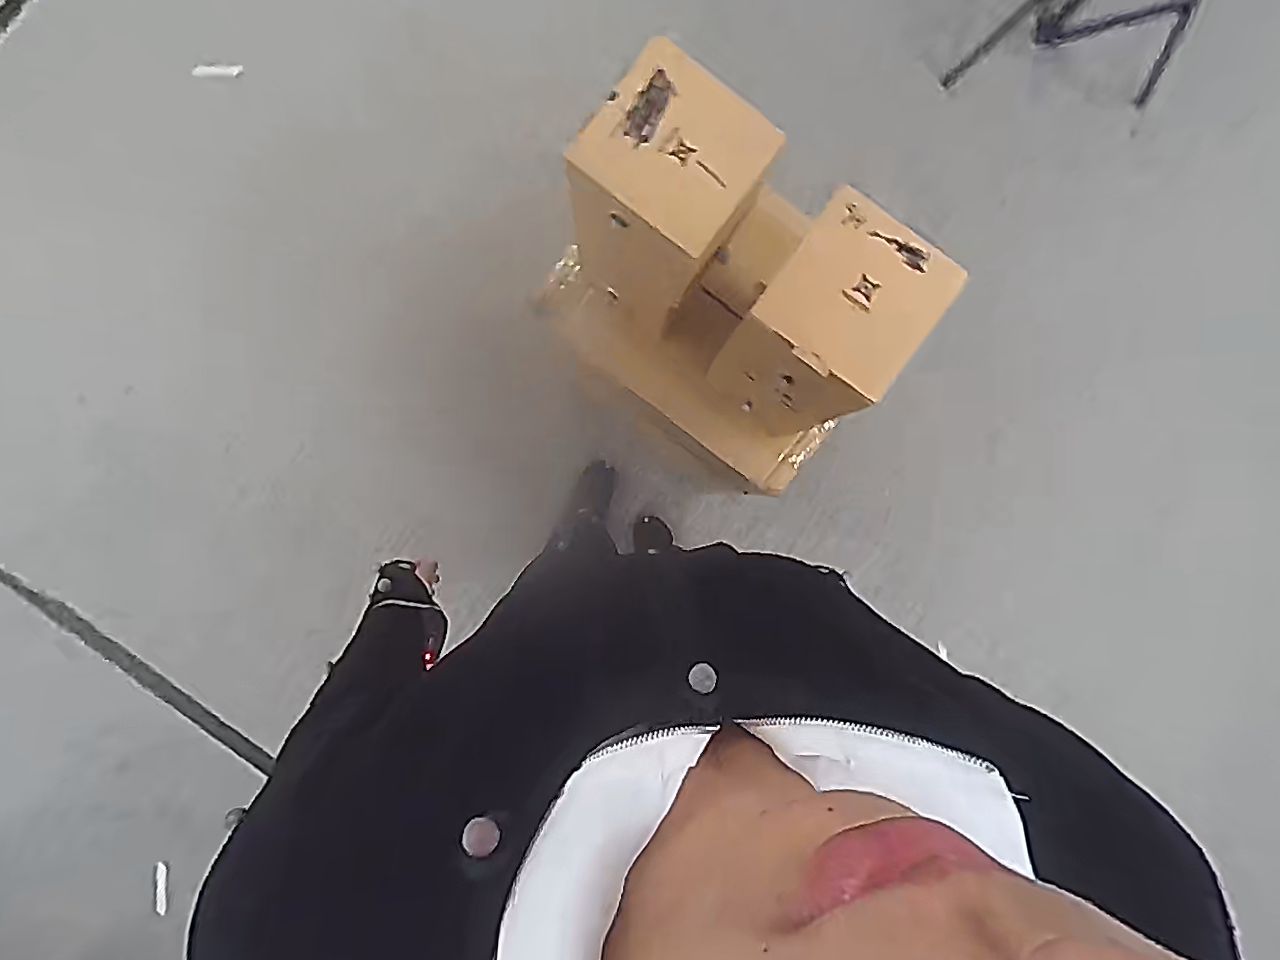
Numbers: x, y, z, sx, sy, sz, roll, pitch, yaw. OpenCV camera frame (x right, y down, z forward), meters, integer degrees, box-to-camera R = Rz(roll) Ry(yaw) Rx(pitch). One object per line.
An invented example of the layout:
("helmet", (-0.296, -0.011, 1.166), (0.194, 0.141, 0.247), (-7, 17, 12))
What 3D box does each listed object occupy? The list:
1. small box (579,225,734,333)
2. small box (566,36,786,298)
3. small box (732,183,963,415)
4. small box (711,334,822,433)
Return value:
("small box", (0.028, -0.352, 0.808), (0.168, 0.176, 0.179), (38, 90, -1))
("small box", (0.035, -0.349, 0.644), (0.179, 0.176, 0.168), (37, 89, -2))
("small box", (0.226, -0.196, 0.646), (0.168, 0.176, 0.179), (36, 89, 0))
("small box", (0.224, -0.191, 0.810), (0.168, 0.176, 0.179), (38, 89, 1))
